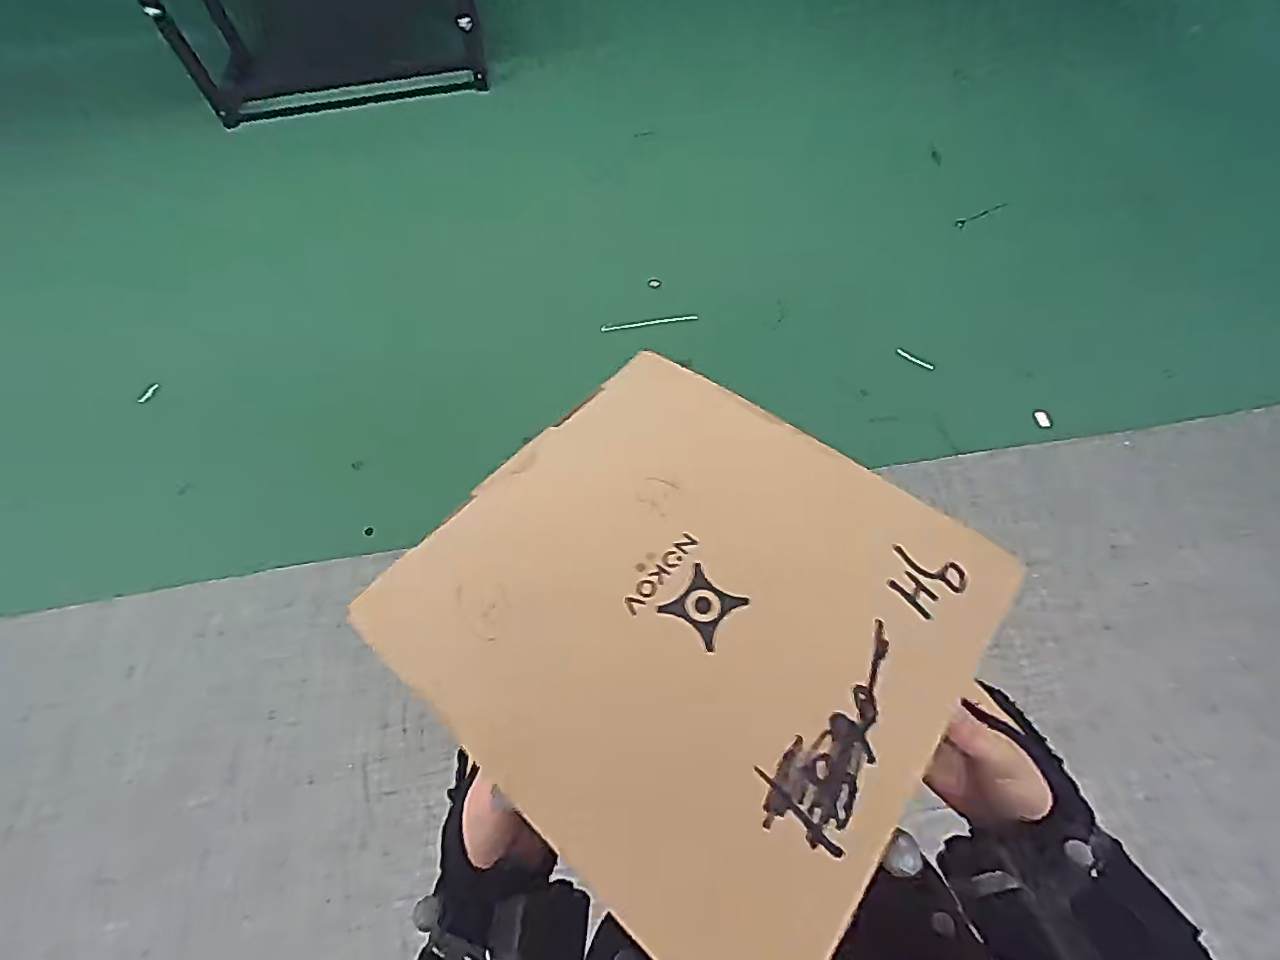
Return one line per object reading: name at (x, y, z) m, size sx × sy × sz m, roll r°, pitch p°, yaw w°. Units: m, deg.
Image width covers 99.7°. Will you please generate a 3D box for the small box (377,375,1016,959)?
small box at (0.023, 0.089, 0.262) m, size 0.179 × 0.176 × 0.168 m, roll 33°, pitch 65°, yaw 23°
